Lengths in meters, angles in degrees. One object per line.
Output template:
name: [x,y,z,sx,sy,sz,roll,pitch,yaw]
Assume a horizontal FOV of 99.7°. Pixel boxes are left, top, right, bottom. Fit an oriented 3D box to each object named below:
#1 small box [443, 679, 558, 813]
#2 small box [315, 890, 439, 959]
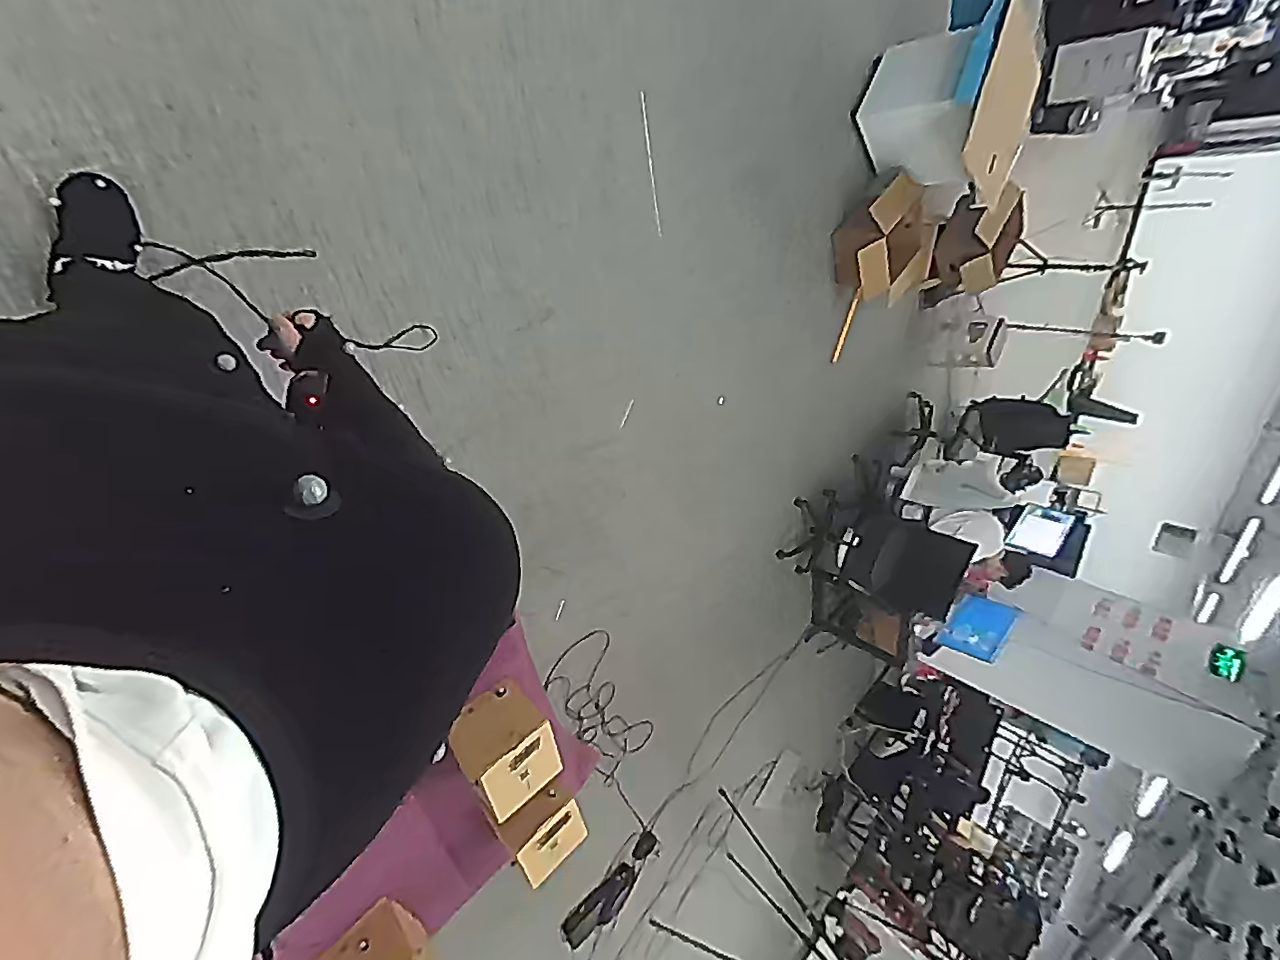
small box: [-0.305,0.568,1.183,0.168,0.176,0.179,-30,129,-34]
small box: [-0.546,1.026,1.144,0.168,0.176,0.179,-37,130,-29]
